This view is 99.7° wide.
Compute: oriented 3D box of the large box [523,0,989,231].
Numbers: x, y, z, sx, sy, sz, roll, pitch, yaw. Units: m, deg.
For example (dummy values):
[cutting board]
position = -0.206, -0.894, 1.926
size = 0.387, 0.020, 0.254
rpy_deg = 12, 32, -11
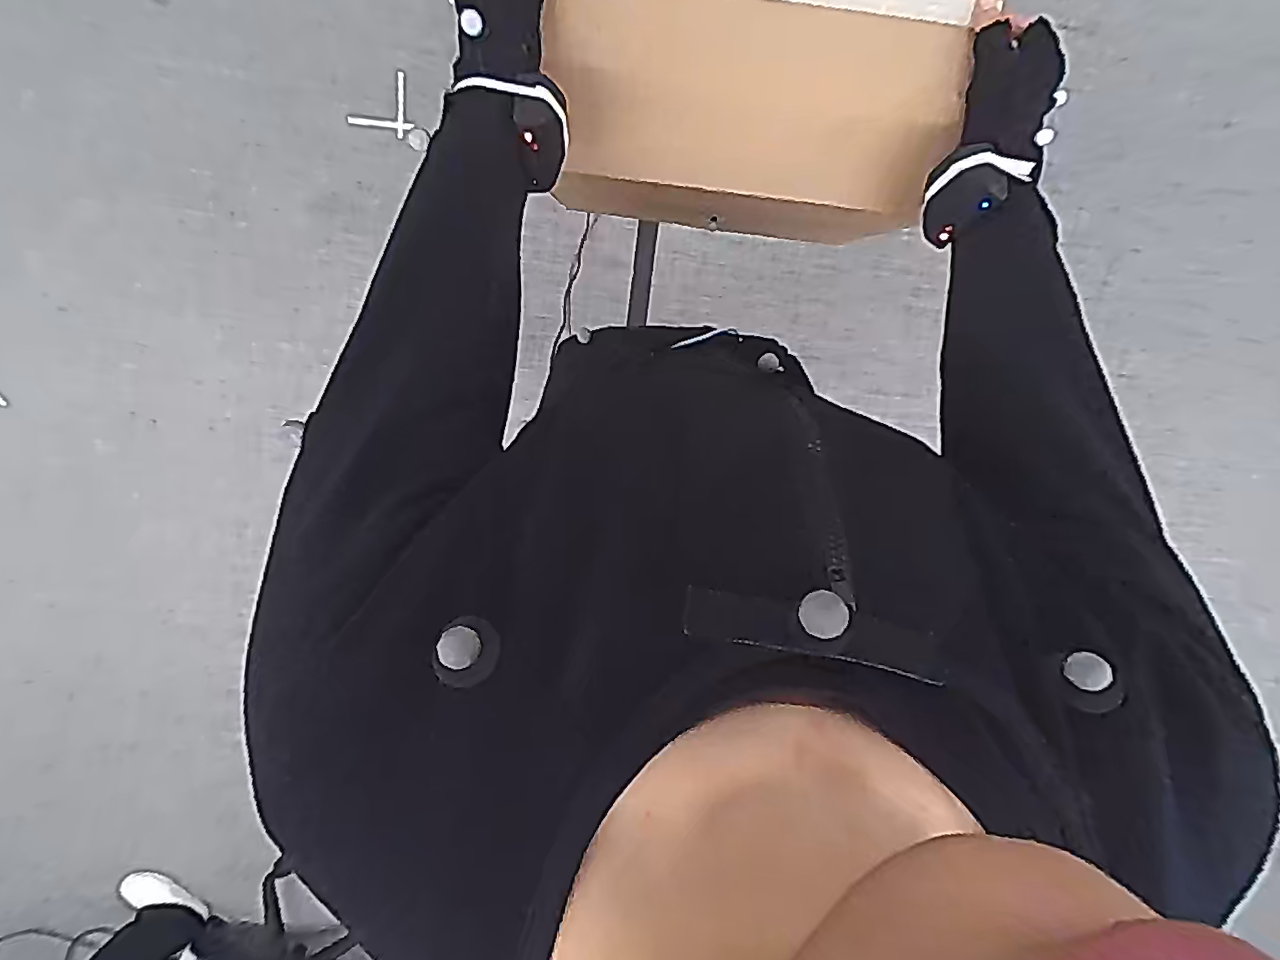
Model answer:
[large box]
position = 0.107, -0.476, 0.604
size = 0.408, 0.320, 0.320
rpy_deg = 7, 109, -1
